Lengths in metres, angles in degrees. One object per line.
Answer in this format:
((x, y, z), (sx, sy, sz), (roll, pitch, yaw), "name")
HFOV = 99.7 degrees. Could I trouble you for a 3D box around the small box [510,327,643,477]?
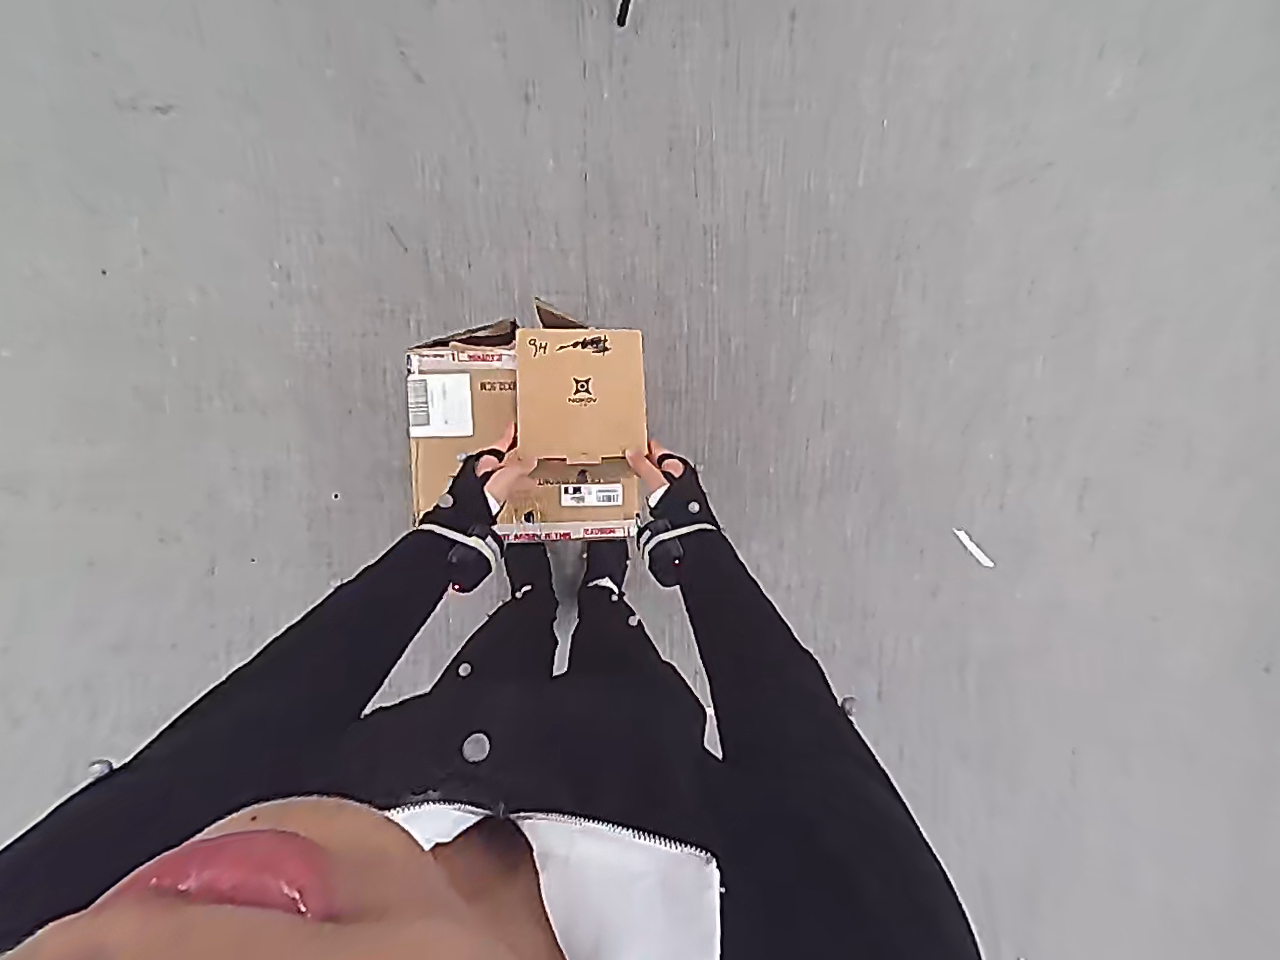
((-0.089, -0.098, 0.758), (0.168, 0.176, 0.179), (-2, 82, -8), "small box")
